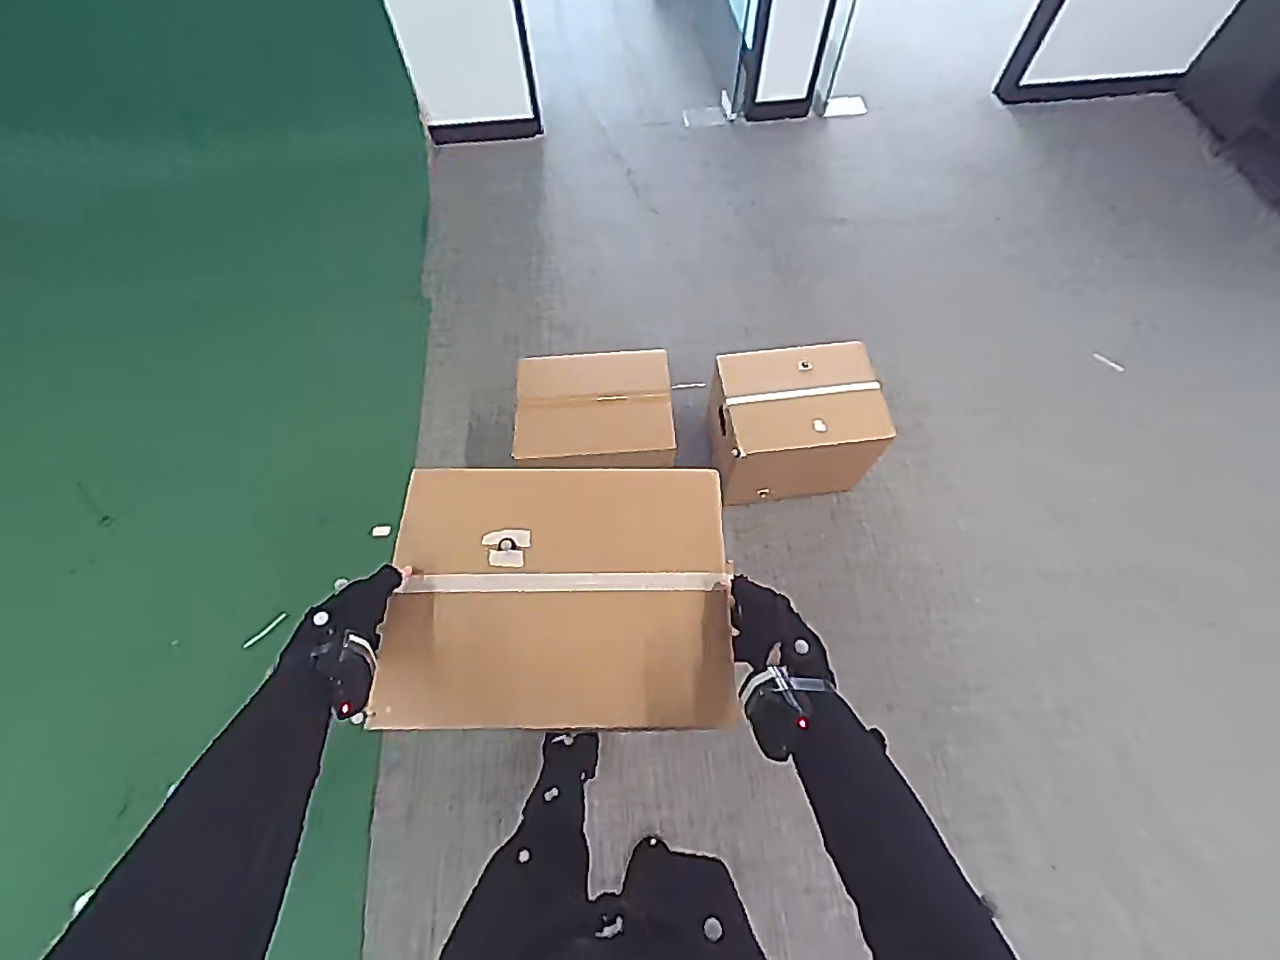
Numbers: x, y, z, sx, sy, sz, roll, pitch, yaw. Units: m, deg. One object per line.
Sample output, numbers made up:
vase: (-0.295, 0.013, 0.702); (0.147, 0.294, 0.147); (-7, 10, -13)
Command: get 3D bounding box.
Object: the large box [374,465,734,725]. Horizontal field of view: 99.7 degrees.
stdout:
large box: (-0.094, 0.185, 0.788); (0.408, 0.320, 0.320); (0, 64, 1)
